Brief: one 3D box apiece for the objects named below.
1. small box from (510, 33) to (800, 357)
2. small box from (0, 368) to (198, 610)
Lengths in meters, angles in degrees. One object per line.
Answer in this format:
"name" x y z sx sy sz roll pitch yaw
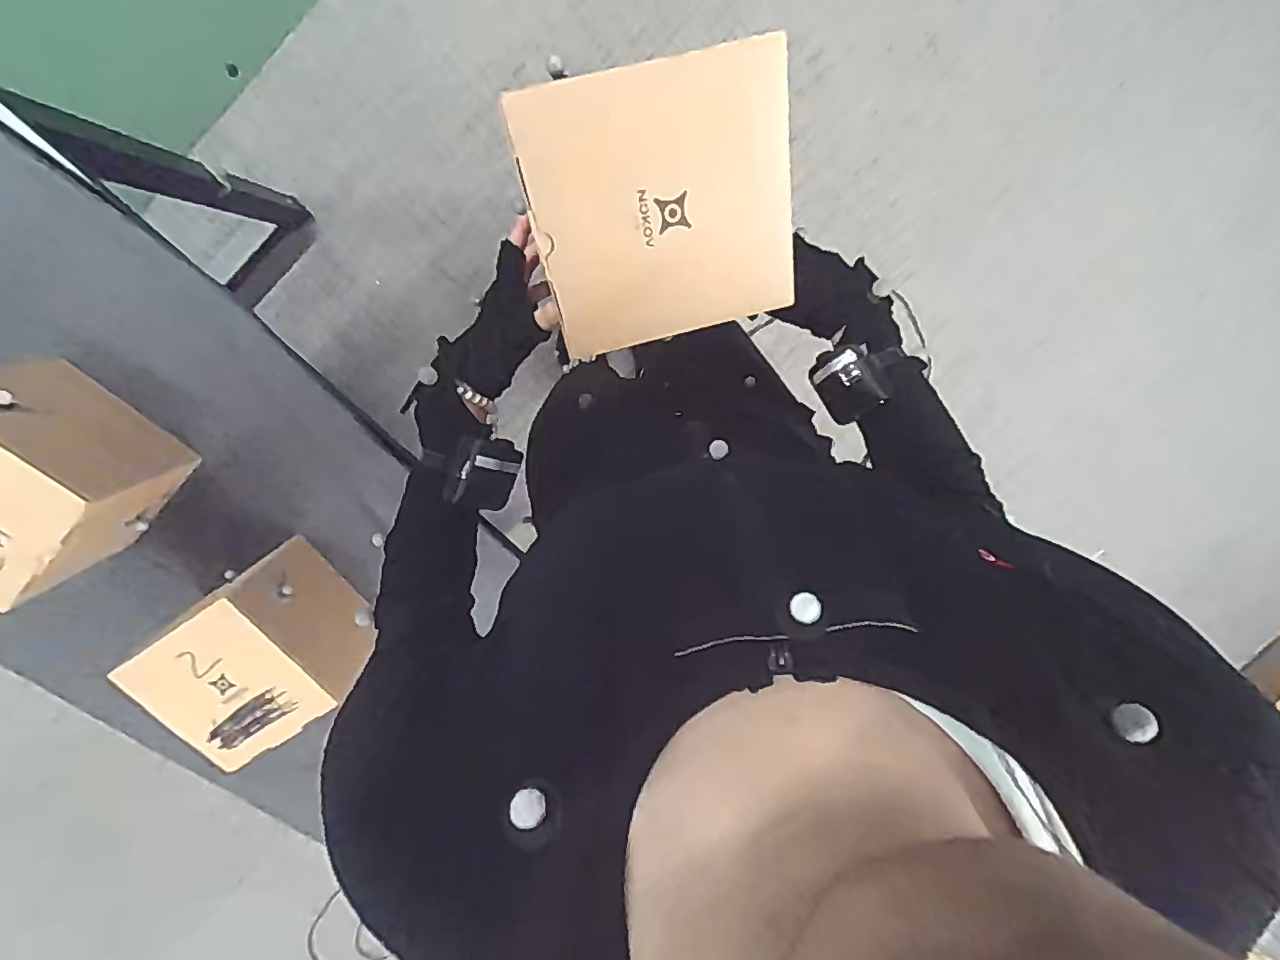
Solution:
"small box" 0.007 -0.220 0.420 0.179 0.176 0.168 -15 125 -2
"small box" -0.647 -0.004 0.579 0.168 0.176 0.179 -44 107 8
